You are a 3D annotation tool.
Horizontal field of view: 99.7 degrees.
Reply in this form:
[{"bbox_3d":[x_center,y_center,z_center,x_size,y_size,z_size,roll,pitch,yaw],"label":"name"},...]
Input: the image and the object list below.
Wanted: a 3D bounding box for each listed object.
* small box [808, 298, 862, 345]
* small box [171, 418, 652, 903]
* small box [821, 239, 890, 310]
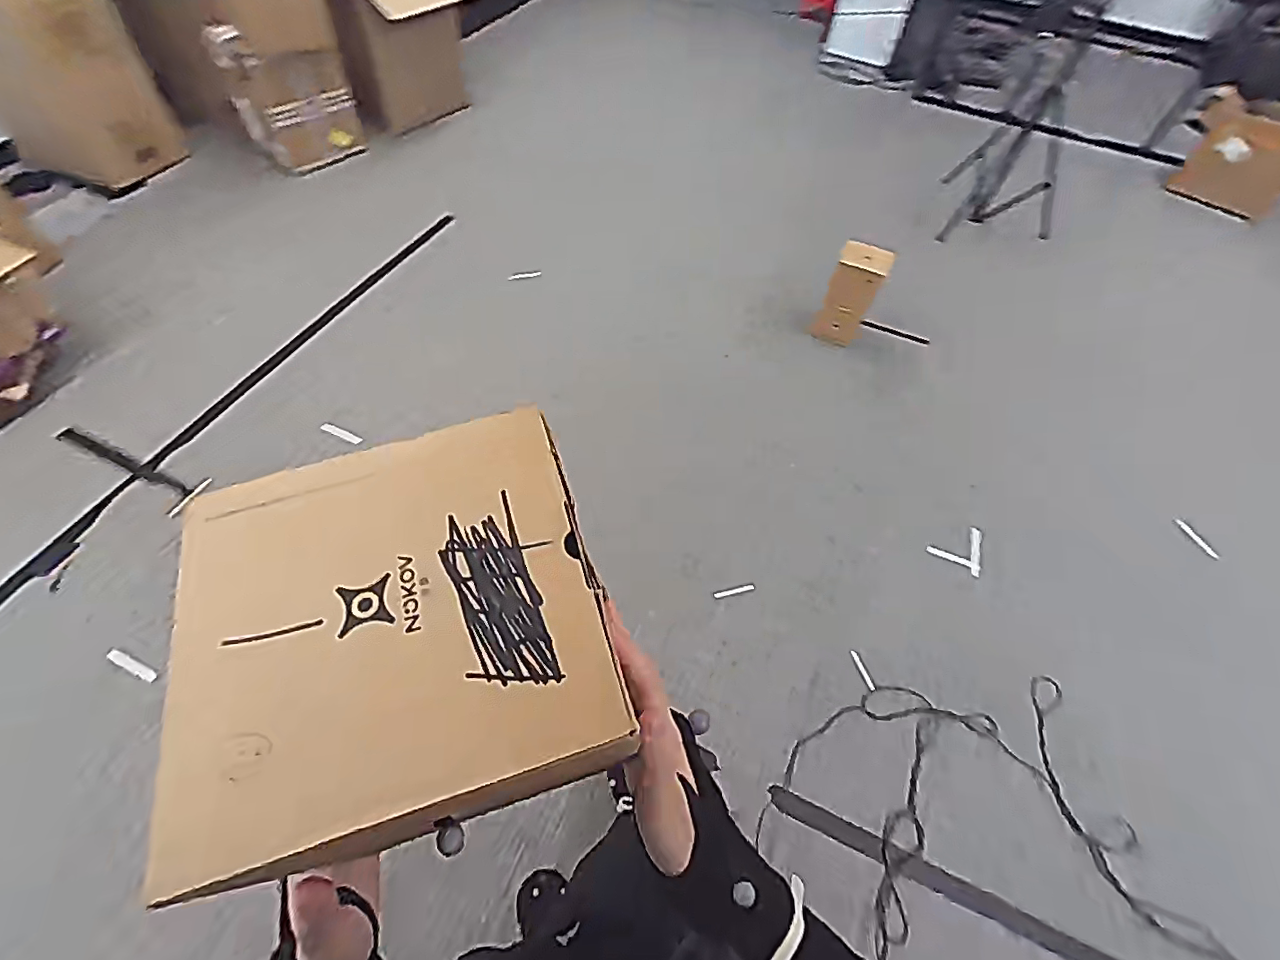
[{"bbox_3d":[0.796,-0.676,2.179,0.168,0.176,0.179,23,58,10],"label":"small box"},{"bbox_3d":[-0.100,0.095,0.303,0.179,0.176,0.168,-16,61,-7],"label":"small box"},{"bbox_3d":[0.810,-0.770,2.042,0.179,0.176,0.168,22,57,10],"label":"small box"}]
